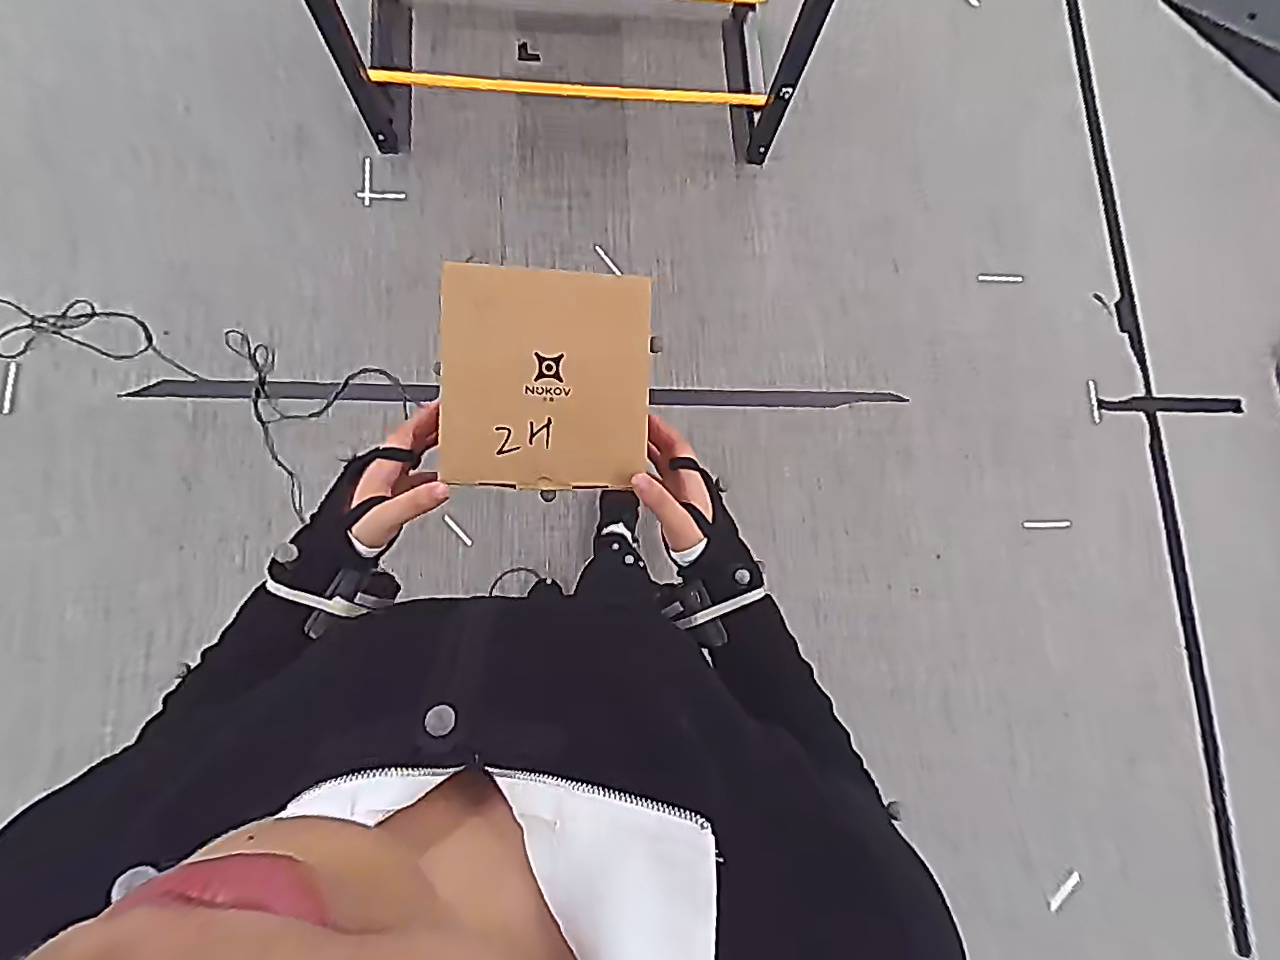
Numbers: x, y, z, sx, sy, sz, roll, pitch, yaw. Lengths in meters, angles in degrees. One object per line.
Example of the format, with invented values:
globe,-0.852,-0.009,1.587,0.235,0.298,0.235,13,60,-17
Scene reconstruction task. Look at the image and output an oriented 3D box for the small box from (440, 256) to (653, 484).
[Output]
small box,-0.083,-0.087,0.513,0.168,0.176,0.179,2,90,-7
